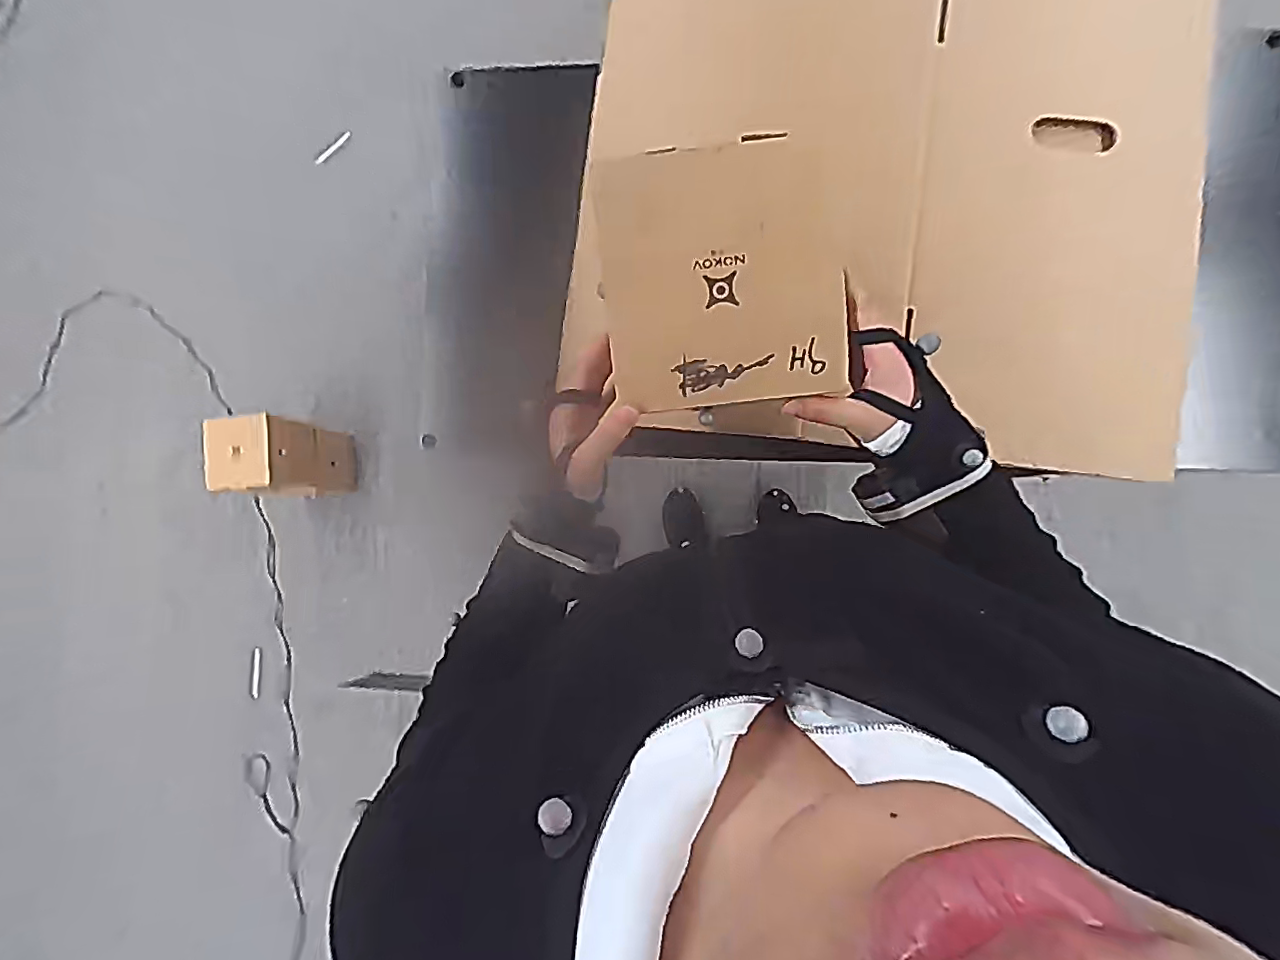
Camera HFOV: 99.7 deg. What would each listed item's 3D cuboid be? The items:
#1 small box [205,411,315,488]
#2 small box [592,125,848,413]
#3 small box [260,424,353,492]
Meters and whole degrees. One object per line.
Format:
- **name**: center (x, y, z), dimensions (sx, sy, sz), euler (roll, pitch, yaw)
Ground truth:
- **small box**: center (-0.958, -0.070, 1.374), dimensions (0.168, 0.176, 0.179), euler (-5, 86, 4)
- **small box**: center (0.060, -0.151, 0.450), dimensions (0.168, 0.176, 0.179), euler (-6, 97, 5)
- **small box**: center (-0.940, -0.057, 1.535), dimensions (0.168, 0.176, 0.179), euler (-2, 88, 6)
